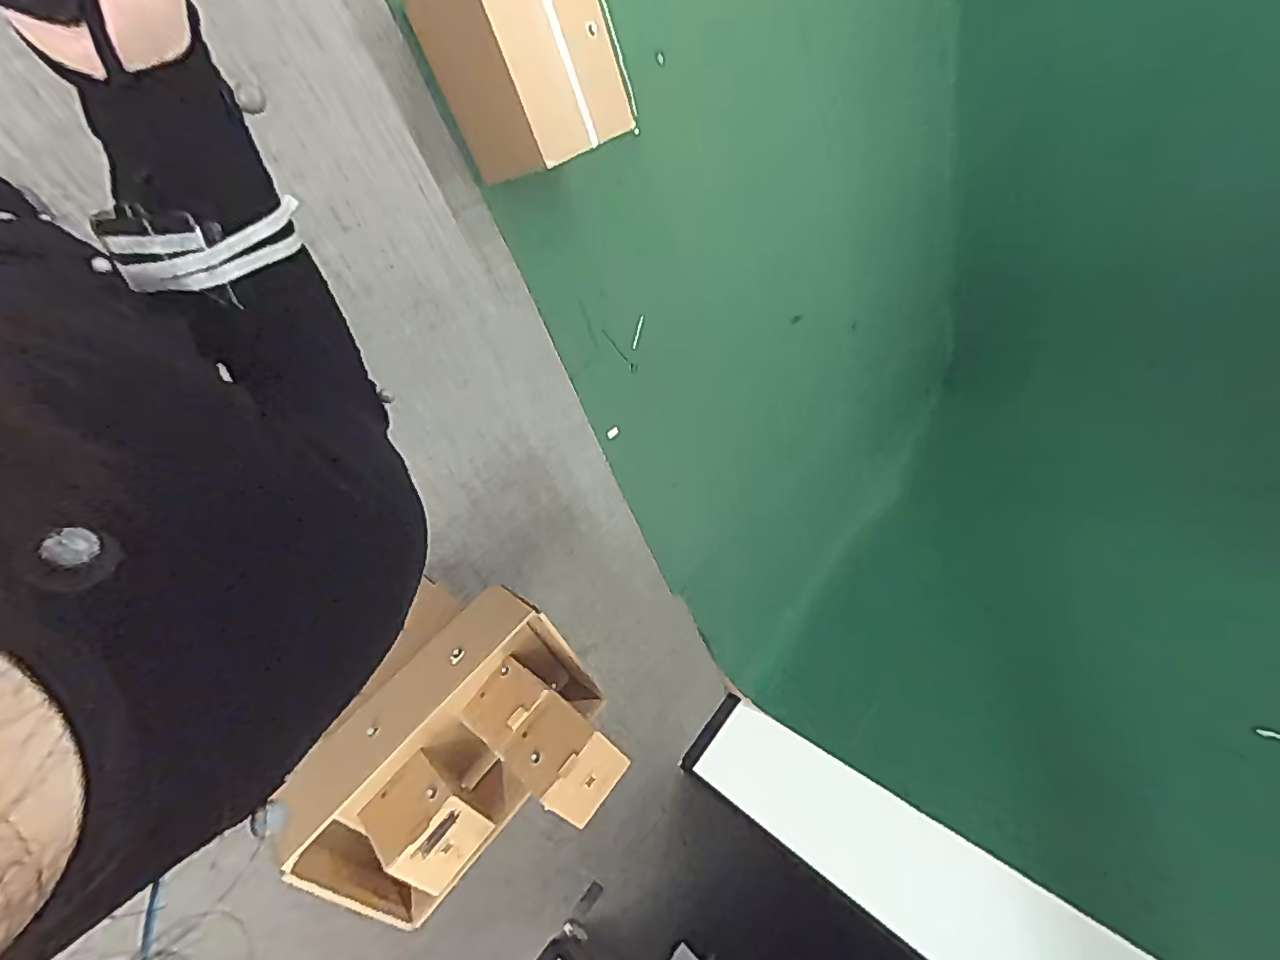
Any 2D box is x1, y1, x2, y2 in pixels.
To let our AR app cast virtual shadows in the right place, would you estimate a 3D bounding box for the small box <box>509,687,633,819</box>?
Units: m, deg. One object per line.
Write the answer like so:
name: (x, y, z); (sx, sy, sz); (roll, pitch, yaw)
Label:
small box: (-0.152, 0.582, 1.173); (0.168, 0.176, 0.179); (-46, 131, -21)
